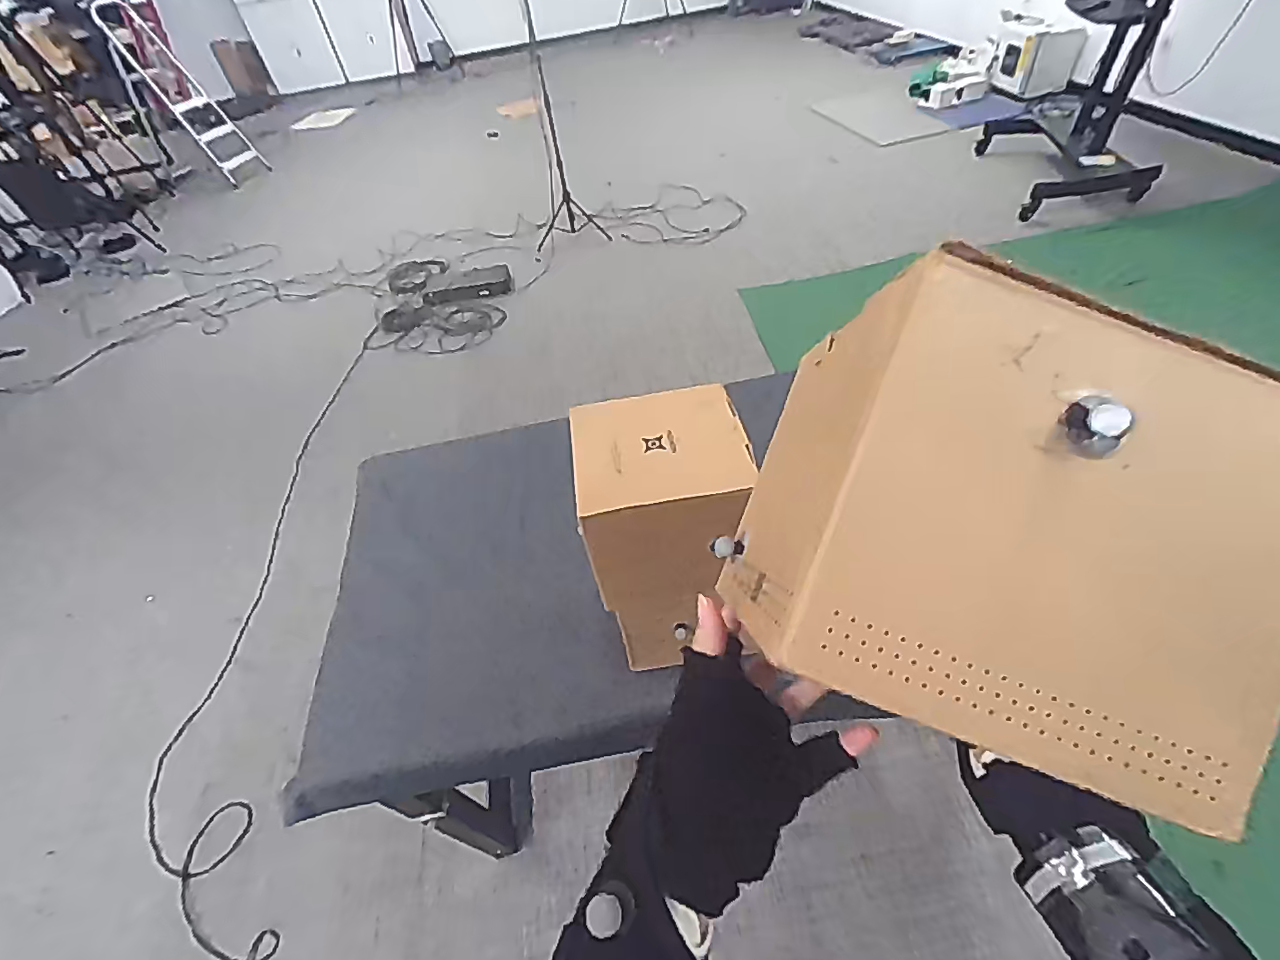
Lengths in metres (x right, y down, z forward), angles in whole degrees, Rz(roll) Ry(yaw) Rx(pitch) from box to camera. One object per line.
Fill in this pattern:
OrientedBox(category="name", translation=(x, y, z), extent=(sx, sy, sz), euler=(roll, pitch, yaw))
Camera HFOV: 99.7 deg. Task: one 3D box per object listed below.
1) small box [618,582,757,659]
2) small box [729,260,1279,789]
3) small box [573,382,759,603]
OrientedBox(category="small box", translation=(0.058, 0.125, 0.732), extent=(0.179, 0.176, 0.168), euler=(-9, 47, 1))
OrientedBox(category="small box", translation=(0.157, 0.023, 0.286), extent=(0.179, 0.168, 0.176), euler=(21, 89, 1))
OrientedBox(category="small box", translation=(0.028, 0.017, 0.614), extent=(0.179, 0.176, 0.168), euler=(-11, 45, 0))
